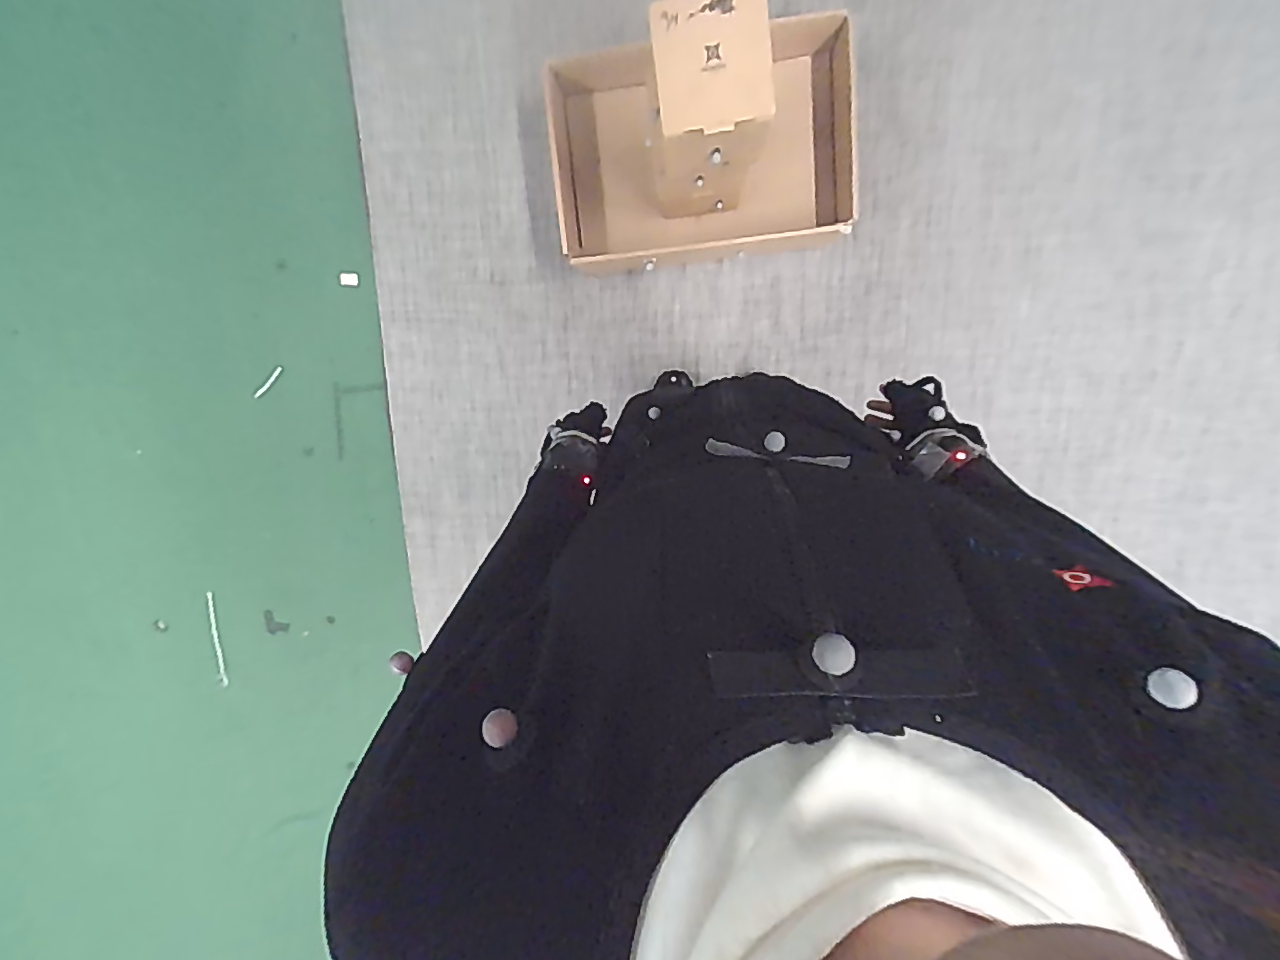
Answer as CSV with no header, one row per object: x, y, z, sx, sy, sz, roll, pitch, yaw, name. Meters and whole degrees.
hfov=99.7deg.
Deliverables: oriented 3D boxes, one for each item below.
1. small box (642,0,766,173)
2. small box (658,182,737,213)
0.104,-0.619,0.868,0.168,0.176,0.179,-8,100,7,small box
0.119,-0.692,1.167,0.168,0.176,0.179,-5,100,6,small box
